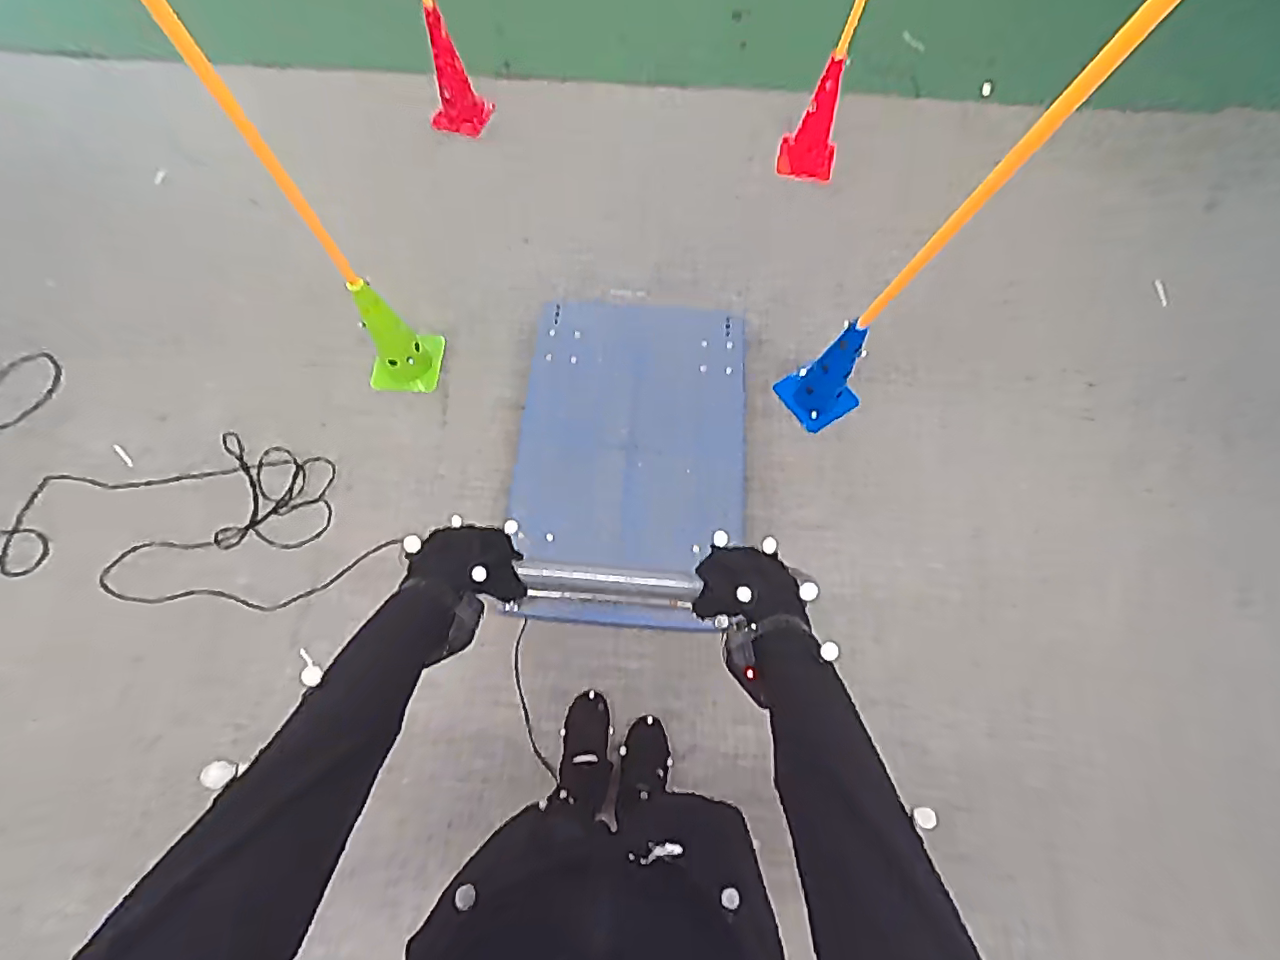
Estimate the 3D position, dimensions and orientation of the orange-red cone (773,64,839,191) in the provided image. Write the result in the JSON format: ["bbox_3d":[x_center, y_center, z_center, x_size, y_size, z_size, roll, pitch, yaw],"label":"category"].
[{"bbox_3d":[0.599,-1.211,1.836,0.198,0.360,0.199,14,70,5],"label":"orange-red cone"}]
